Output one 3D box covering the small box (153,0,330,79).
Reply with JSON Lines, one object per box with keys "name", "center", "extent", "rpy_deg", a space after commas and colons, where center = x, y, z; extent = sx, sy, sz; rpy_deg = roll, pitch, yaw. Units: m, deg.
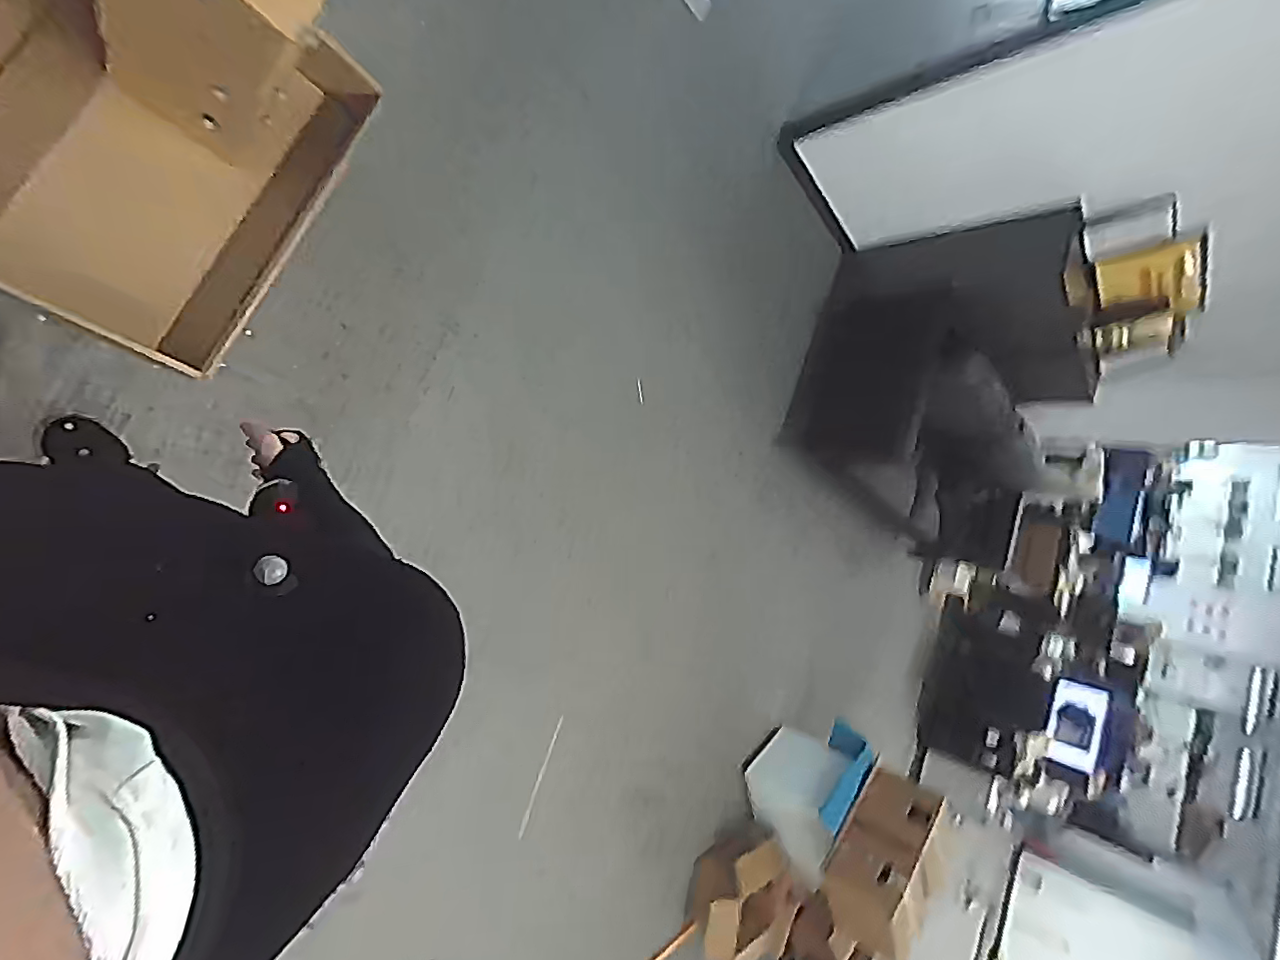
{"name": "small box", "center": [-0.462, -0.606, 0.617], "extent": [0.179, 0.176, 0.168], "rpy_deg": [33, 75, -42]}
